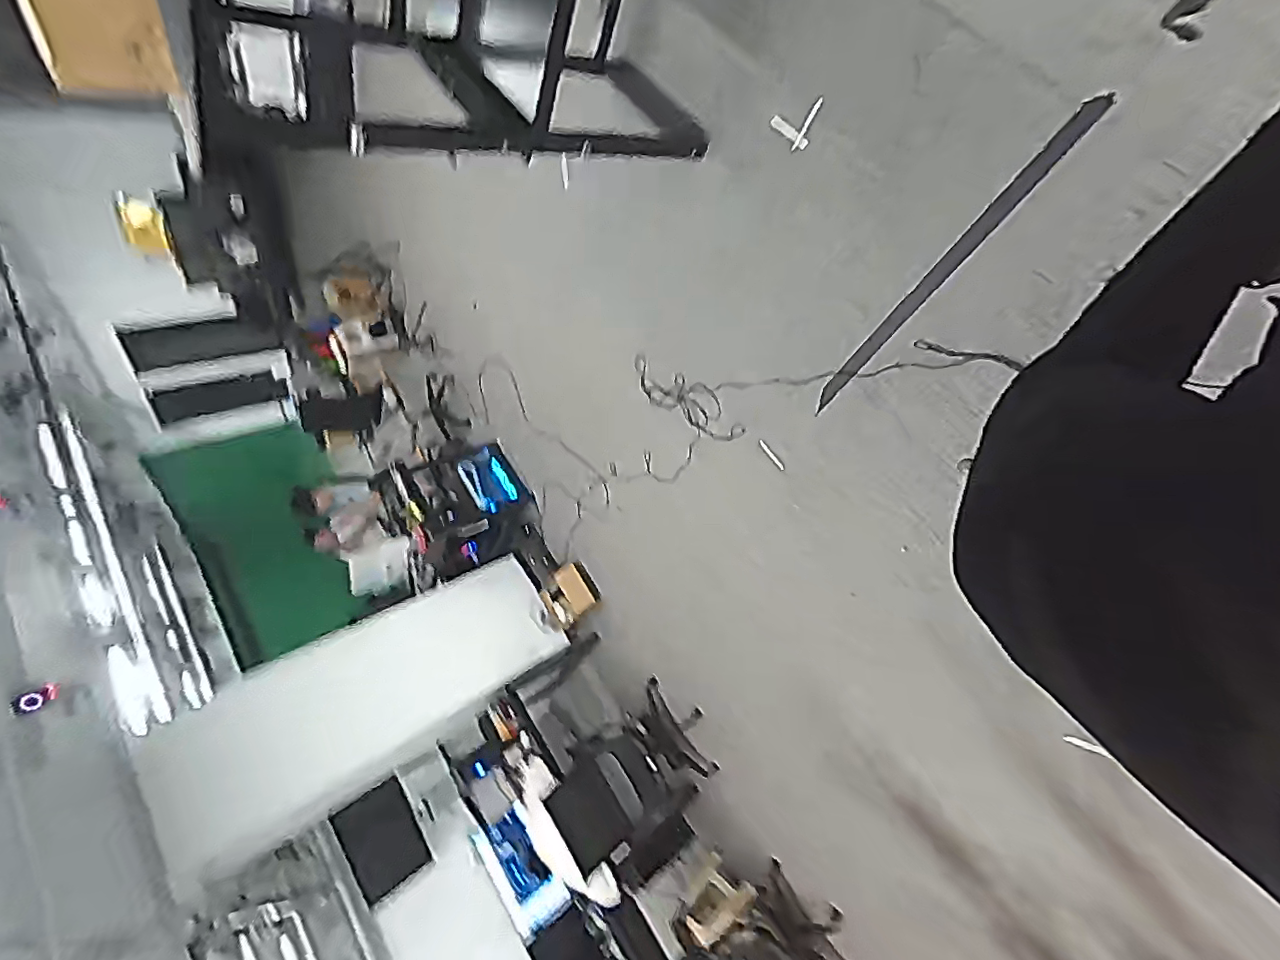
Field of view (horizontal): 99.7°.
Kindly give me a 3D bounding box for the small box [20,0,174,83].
[{"bbox_3d":[-0.926,-0.800,0.908,0.179,0.176,0.168,51,141,19],"label":"small box"}]
